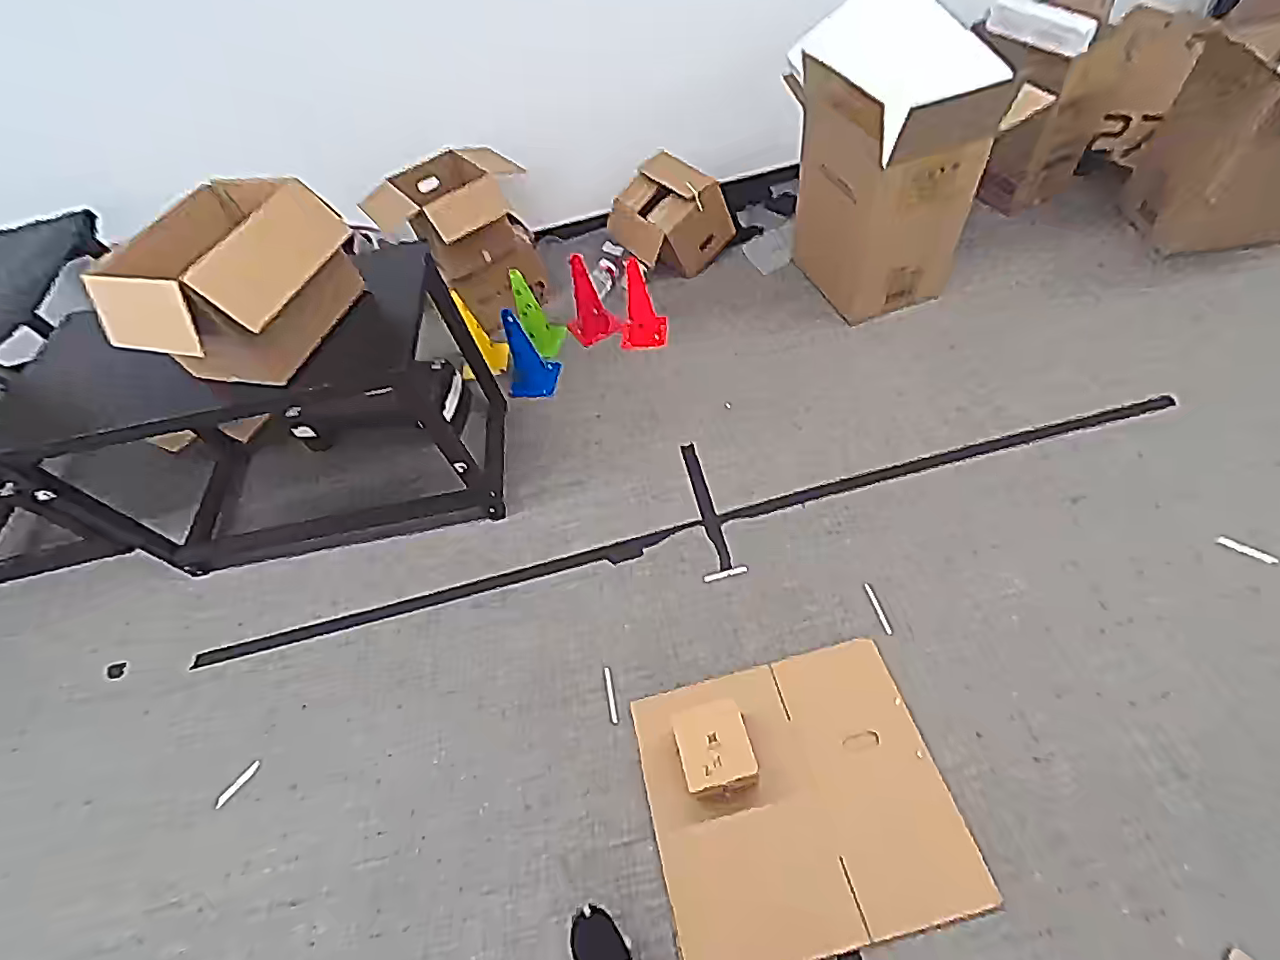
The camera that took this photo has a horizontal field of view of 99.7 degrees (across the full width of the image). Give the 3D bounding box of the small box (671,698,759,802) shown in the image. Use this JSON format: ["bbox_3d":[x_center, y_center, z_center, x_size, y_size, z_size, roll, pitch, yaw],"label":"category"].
[{"bbox_3d":[0.182,0.660,1.317,0.168,0.176,0.179,-16,54,0],"label":"small box"}]
